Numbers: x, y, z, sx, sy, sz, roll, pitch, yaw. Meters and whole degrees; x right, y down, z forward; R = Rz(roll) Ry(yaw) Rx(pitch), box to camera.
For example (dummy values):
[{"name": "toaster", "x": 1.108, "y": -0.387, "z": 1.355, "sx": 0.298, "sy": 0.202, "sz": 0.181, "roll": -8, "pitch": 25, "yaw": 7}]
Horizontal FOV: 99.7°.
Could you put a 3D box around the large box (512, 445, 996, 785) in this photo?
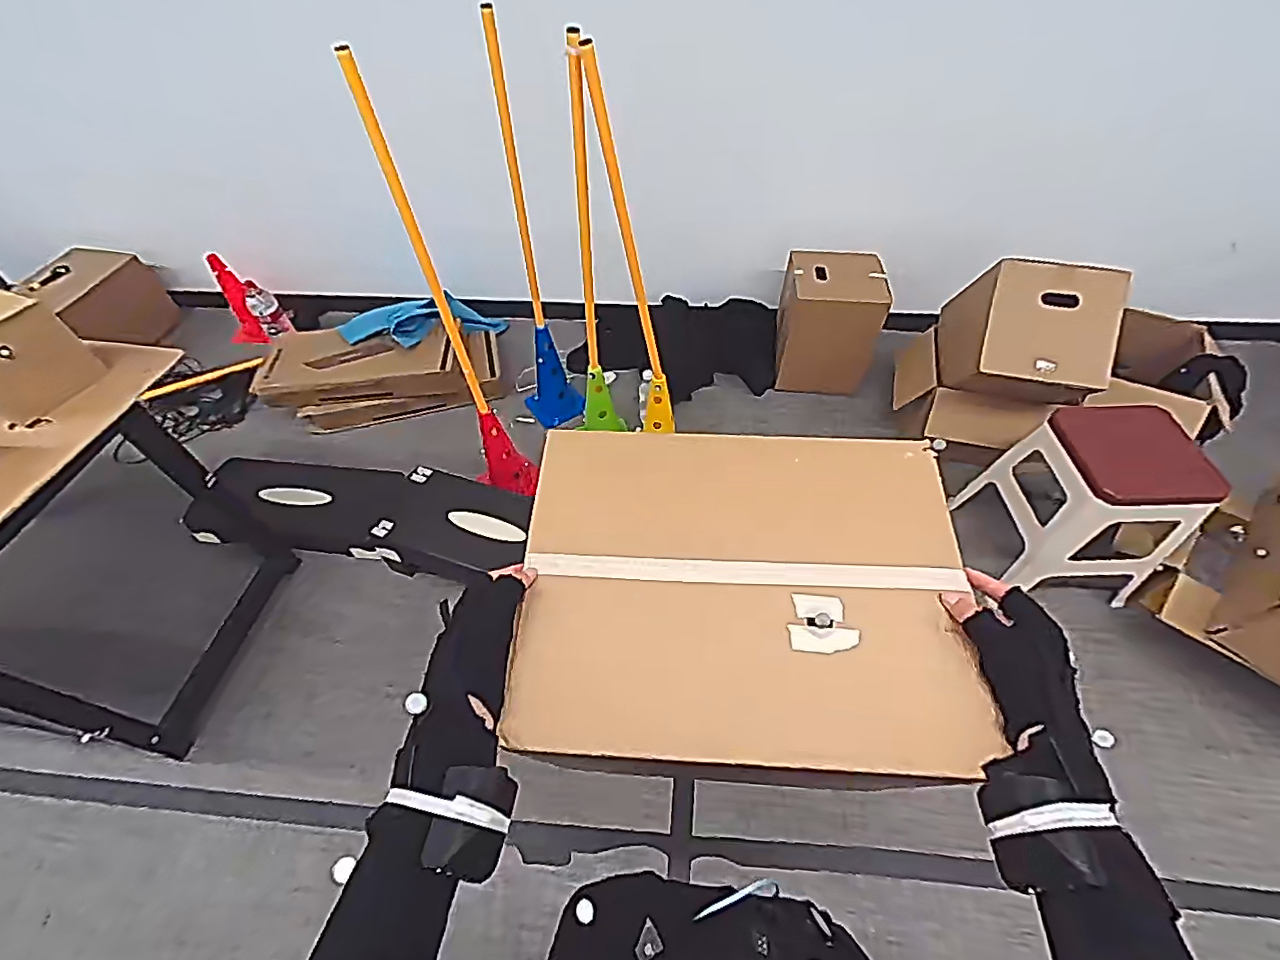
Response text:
[{"name": "large box", "x": 0.098, "y": 0.173, "z": 0.643, "sx": 0.408, "sy": 0.320, "sz": 0.320, "roll": 2, "pitch": 60, "yaw": 3}]
